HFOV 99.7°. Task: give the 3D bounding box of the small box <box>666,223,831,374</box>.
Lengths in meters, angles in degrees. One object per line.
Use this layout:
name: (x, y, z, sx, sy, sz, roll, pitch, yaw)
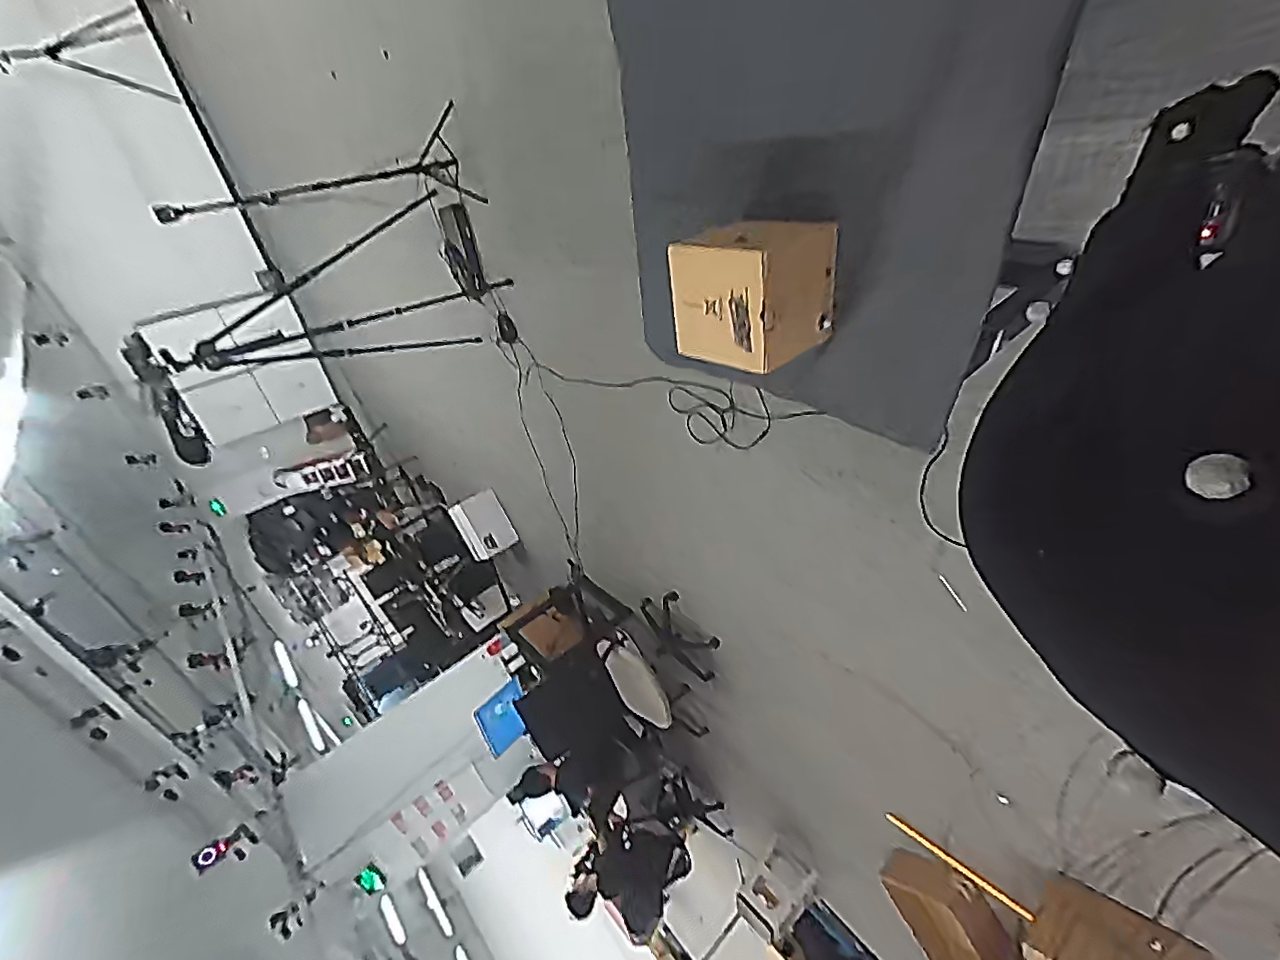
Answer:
small box: (0.165, -0.280, 0.811, 0.179, 0.176, 0.168, 28, 138, 43)
